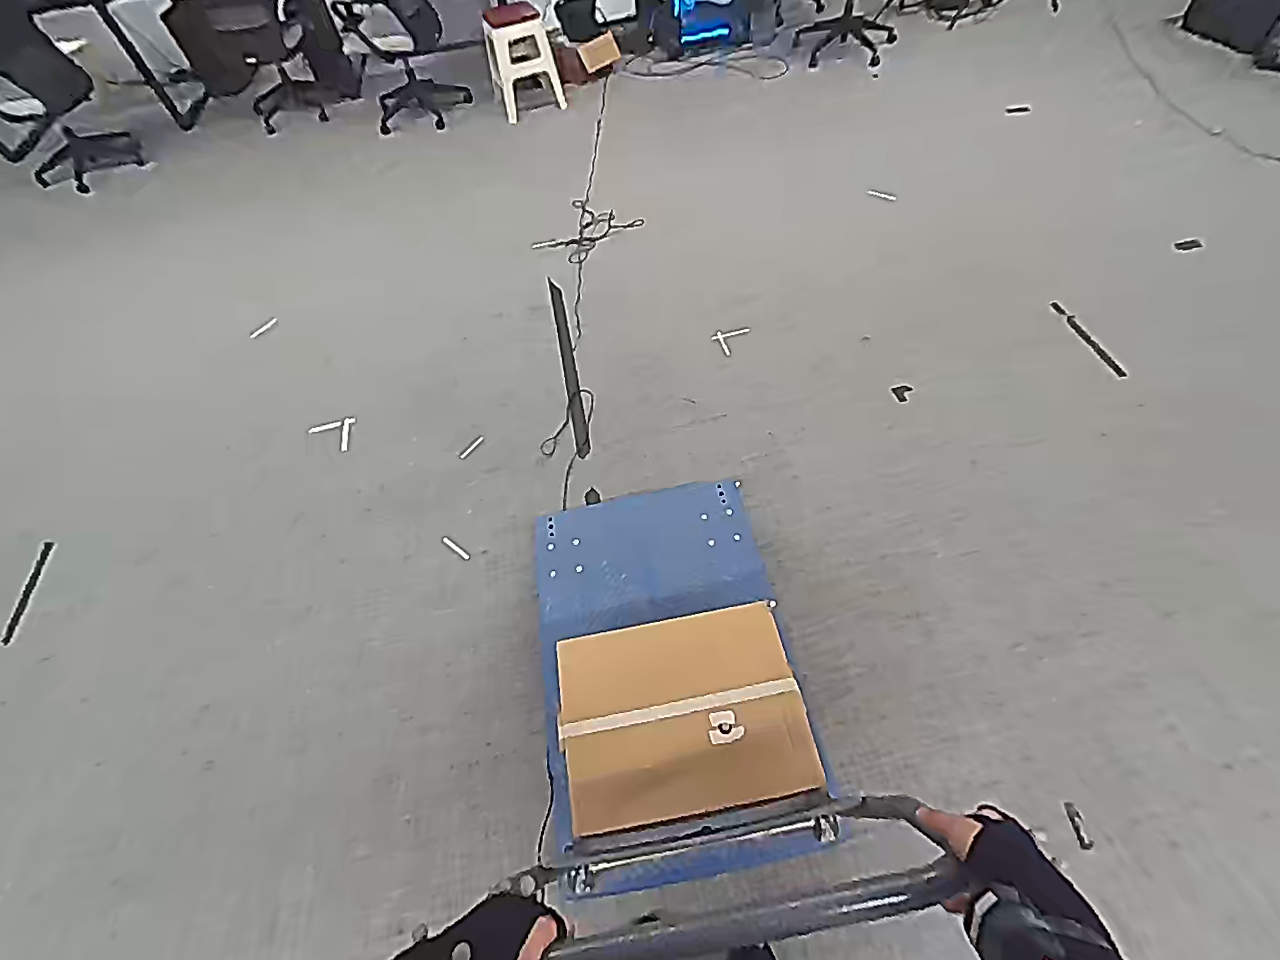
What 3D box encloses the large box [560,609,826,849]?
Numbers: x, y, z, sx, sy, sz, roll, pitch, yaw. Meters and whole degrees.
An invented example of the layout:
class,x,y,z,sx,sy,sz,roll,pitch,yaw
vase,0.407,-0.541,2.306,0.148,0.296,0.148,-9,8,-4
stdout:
class,x,y,z,sx,sy,sz,roll,pitch,yaw
large box,0.083,0.487,1.044,0.408,0.320,0.320,-11,56,-2
